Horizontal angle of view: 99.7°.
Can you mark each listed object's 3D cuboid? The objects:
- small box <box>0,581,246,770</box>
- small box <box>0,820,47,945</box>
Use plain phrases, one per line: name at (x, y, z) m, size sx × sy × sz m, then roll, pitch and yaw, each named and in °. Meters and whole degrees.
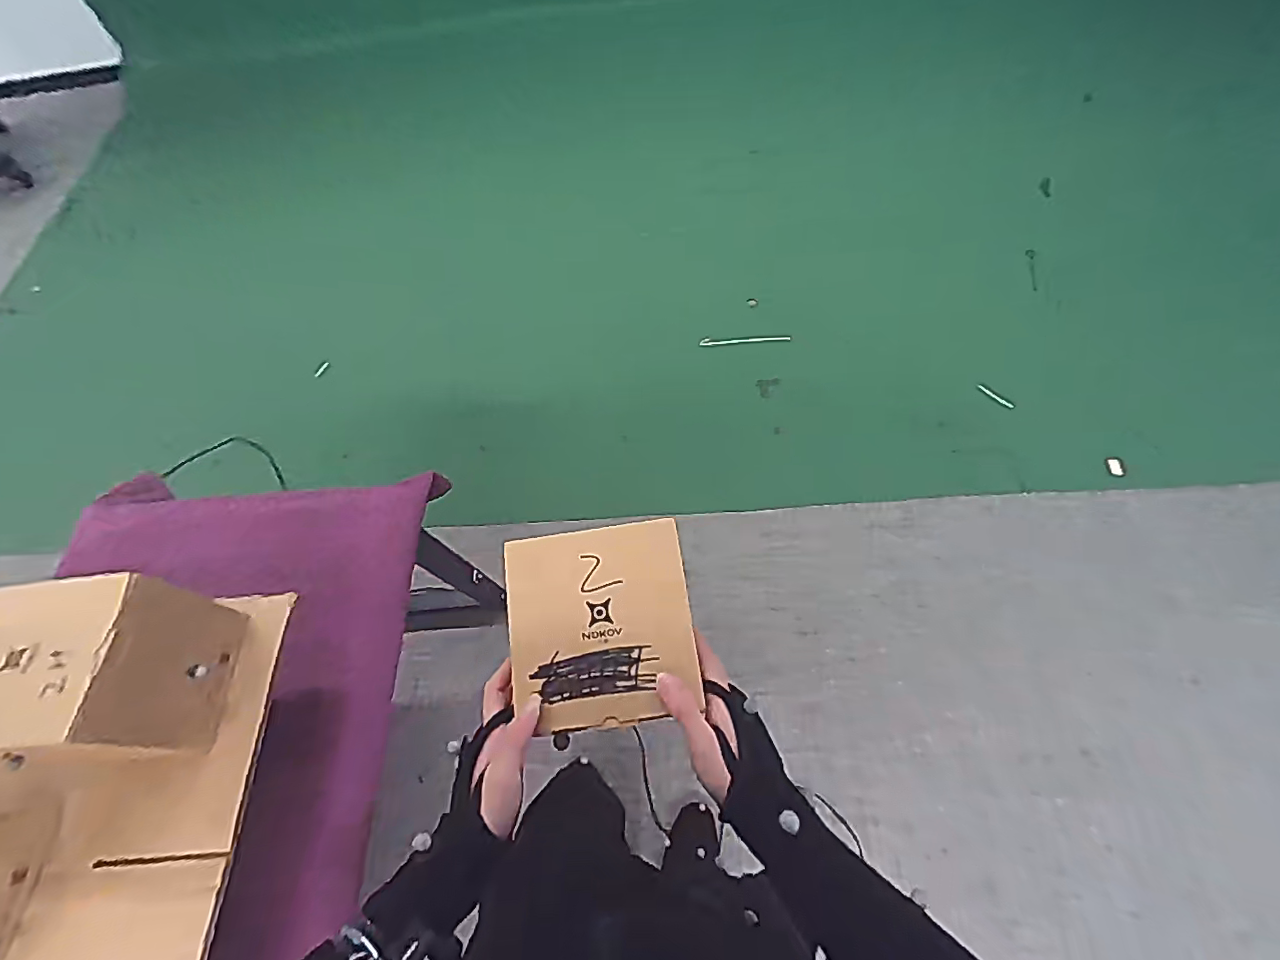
small box at (-0.602, 0.225, 0.604) m, size 0.179 × 0.176 × 0.168 m, roll -6°, pitch 60°, yaw 3°
small box at (-0.745, 0.425, 0.506) m, size 0.179 × 0.176 × 0.168 m, roll -8°, pitch 59°, yaw 3°
